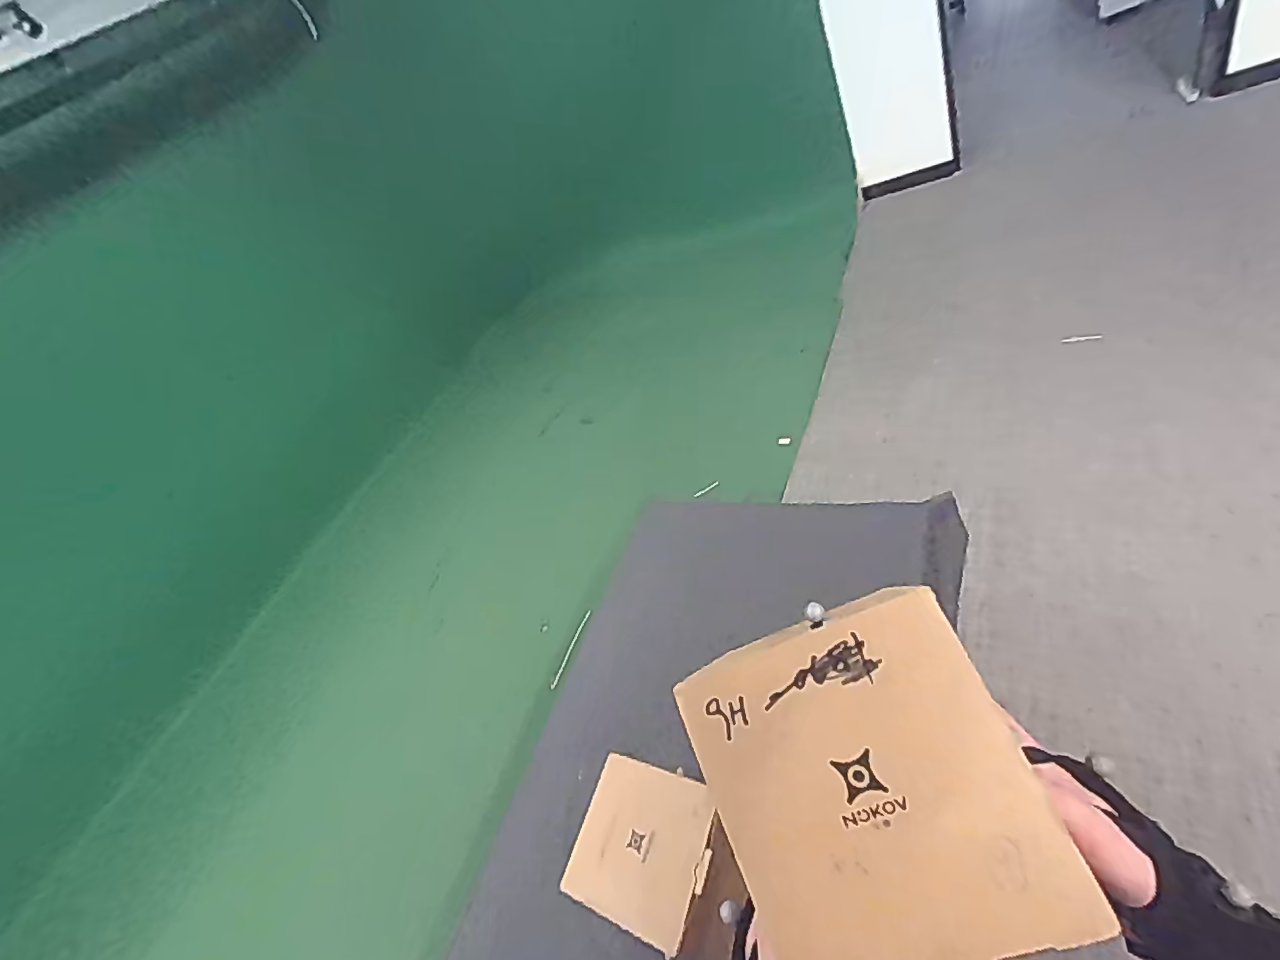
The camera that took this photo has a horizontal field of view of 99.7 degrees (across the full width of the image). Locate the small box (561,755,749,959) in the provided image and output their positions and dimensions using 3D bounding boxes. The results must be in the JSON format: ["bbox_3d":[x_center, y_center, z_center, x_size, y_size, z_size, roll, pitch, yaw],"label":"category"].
[{"bbox_3d":[0.037,0.495,0.711,0.179,0.176,0.168,-2,49,36],"label":"small box"}]

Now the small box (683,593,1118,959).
[{"bbox_3d":[0.152,0.187,0.370,0.168,0.176,0.179,-25,73,12],"label":"small box"}]
